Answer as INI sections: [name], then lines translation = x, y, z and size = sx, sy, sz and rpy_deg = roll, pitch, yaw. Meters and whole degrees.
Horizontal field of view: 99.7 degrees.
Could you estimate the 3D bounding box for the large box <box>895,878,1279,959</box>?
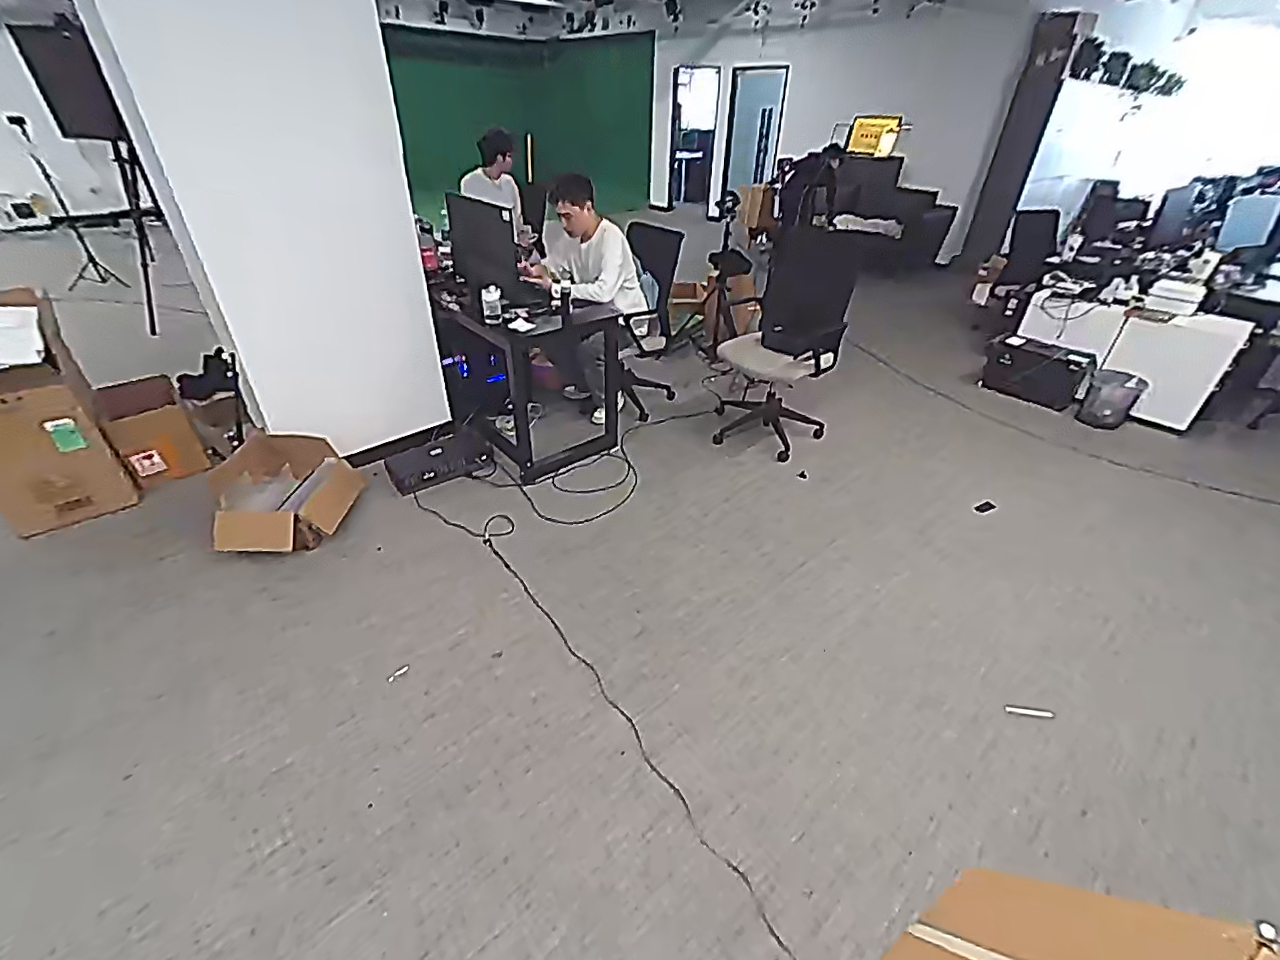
[large box]
translation = 0.540, 0.729, 0.601
size = 0.320, 0.408, 0.320
rpy_deg = -22, 71, -23
